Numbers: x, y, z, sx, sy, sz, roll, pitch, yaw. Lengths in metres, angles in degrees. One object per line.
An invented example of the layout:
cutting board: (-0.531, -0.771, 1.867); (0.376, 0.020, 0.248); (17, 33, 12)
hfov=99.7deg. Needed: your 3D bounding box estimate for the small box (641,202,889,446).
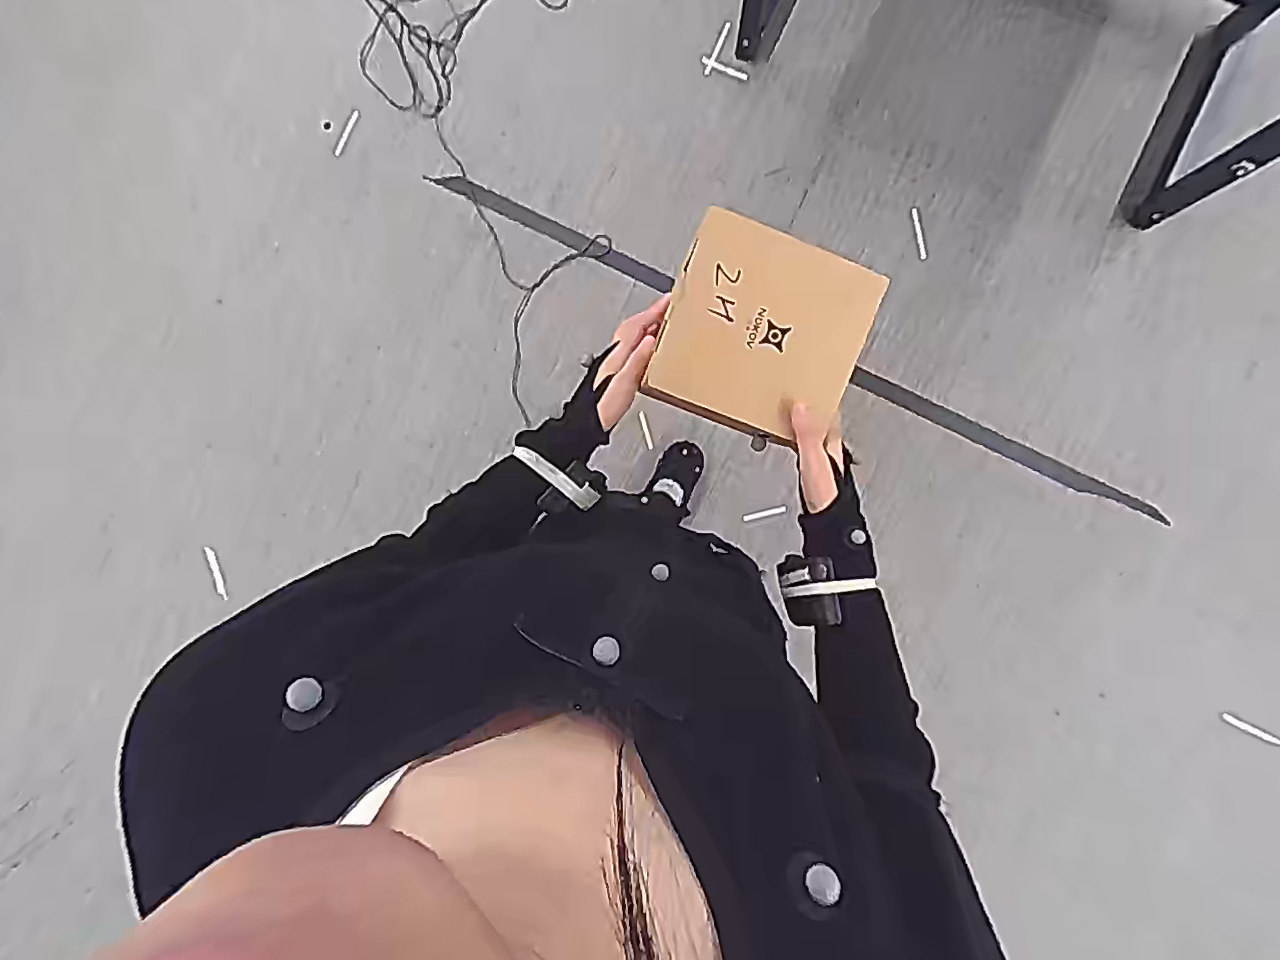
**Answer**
small box: (0.110, -0.147, 0.559); (0.179, 0.176, 0.168); (21, 96, -5)
